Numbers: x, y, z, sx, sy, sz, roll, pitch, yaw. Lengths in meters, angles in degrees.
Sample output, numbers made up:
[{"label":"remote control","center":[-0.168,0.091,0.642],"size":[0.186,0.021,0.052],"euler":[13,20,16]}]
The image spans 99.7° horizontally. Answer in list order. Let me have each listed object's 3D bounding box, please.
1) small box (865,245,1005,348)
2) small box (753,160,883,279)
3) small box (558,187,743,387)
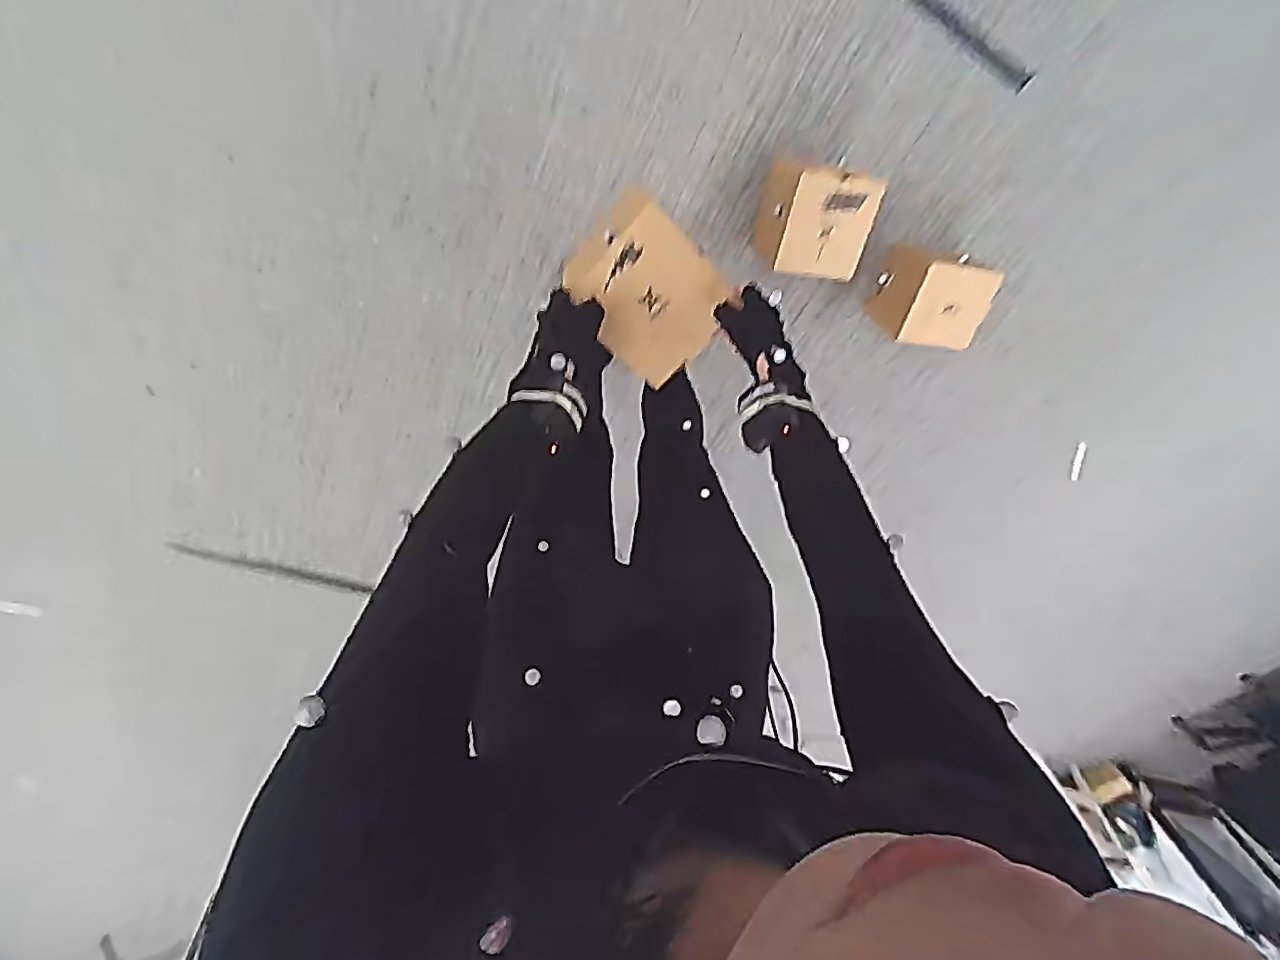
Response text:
[{"label":"small box","center":[0.634,-0.405,1.187],"size":[0.179,0.176,0.168],"euler":[4,124,-9]},{"label":"small box","center":[0.337,-0.516,1.065],"size":[0.168,0.176,0.179],"euler":[3,126,-9]},{"label":"small box","center":[0.009,-0.266,0.735],"size":[0.179,0.176,0.168],"euler":[37,114,-27]}]
